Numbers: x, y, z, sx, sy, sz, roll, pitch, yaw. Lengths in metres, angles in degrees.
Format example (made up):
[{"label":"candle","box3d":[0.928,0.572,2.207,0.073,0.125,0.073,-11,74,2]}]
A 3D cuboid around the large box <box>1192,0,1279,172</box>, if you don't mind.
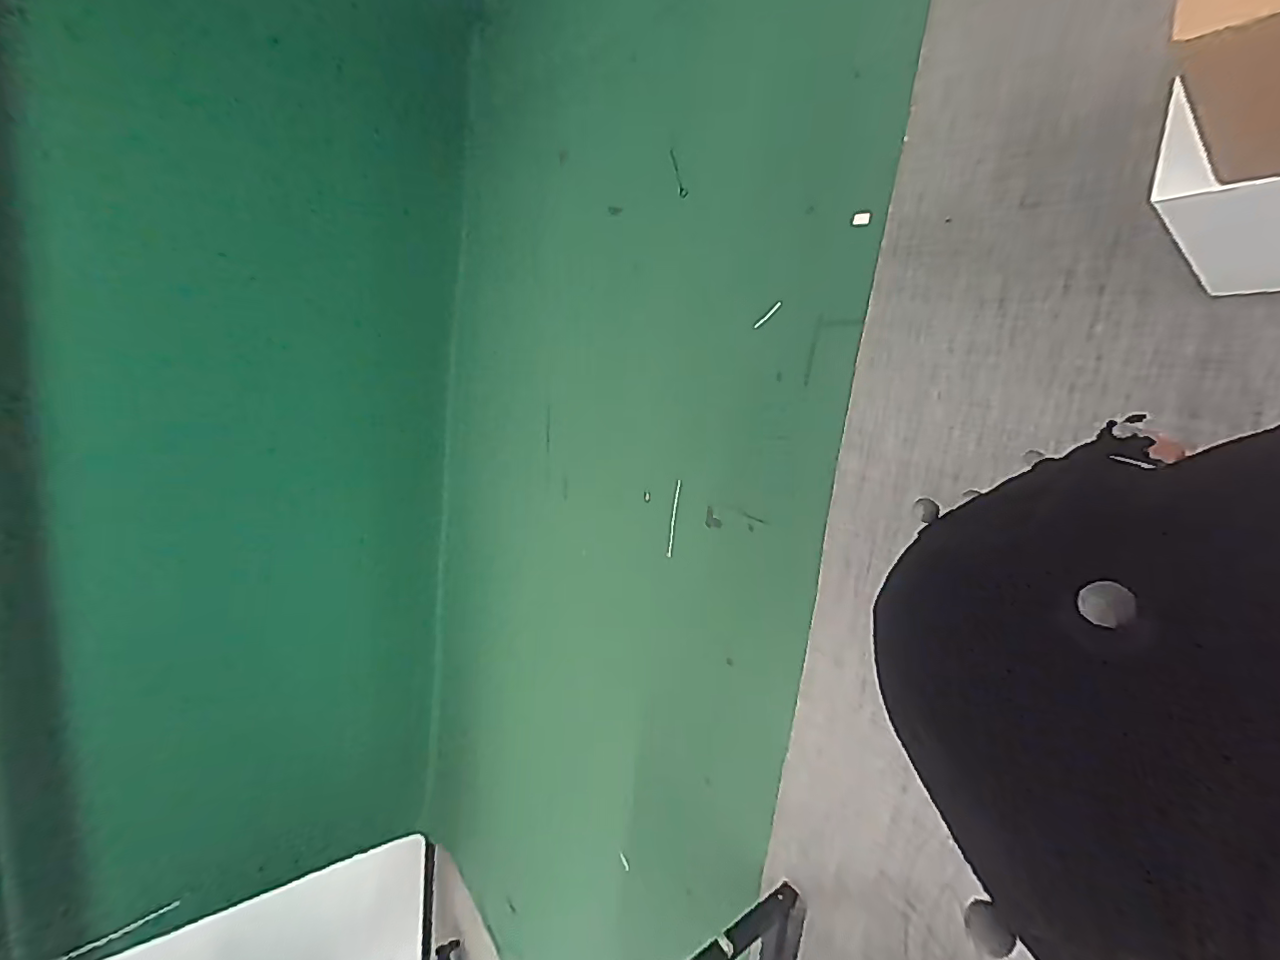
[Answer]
[{"label":"large box","box3d":[0.622,-0.426,0.292,0.408,0.320,0.320,15,104,49]}]
